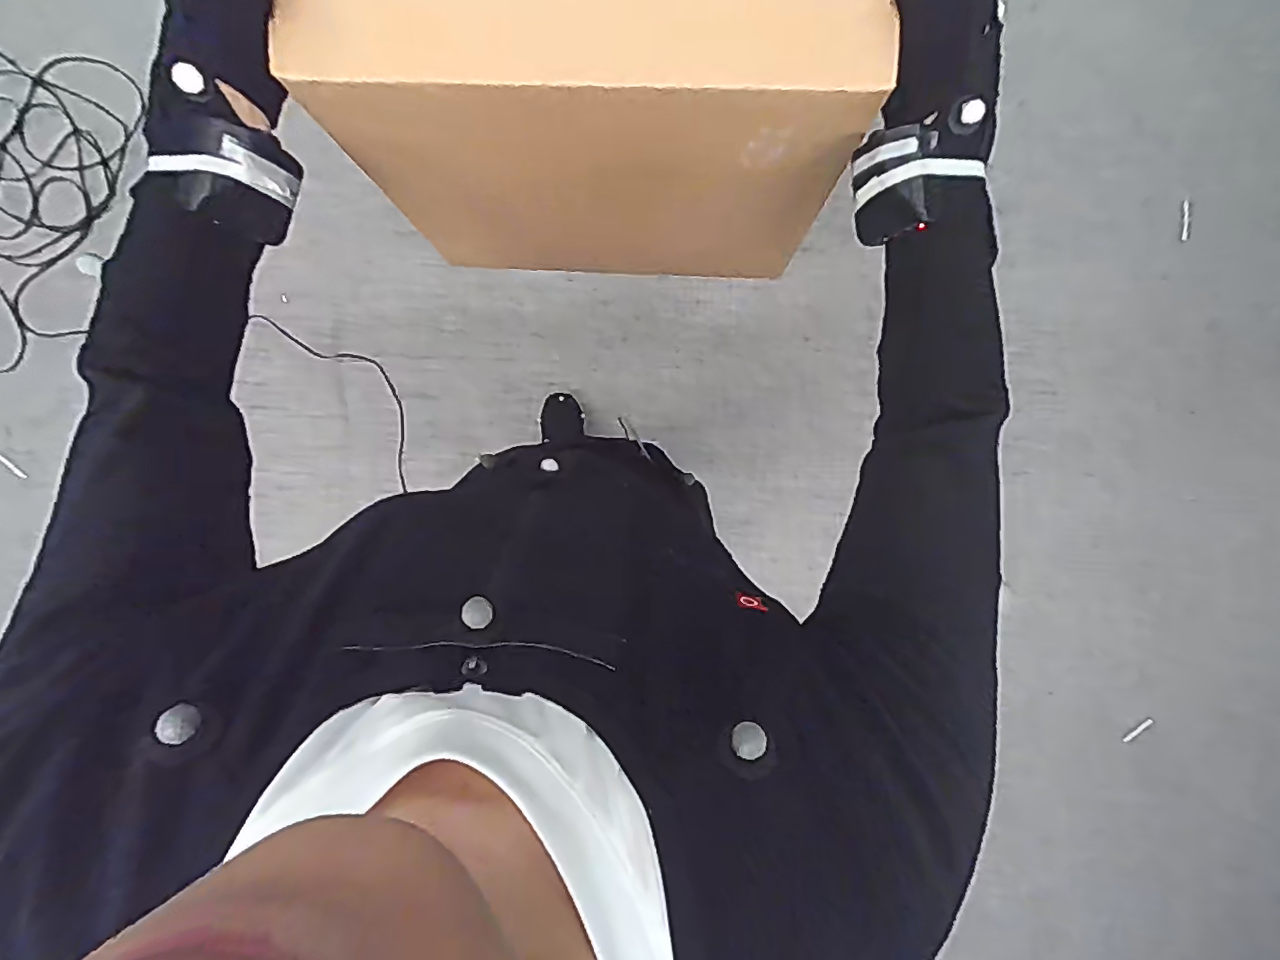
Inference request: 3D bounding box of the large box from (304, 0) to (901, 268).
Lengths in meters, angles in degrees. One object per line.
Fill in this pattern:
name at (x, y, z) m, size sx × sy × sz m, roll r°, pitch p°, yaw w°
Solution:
large box at (-0.023, -0.413, 0.510) m, size 0.408 × 0.320 × 0.320 m, roll 2°, pitch 90°, yaw 0°
